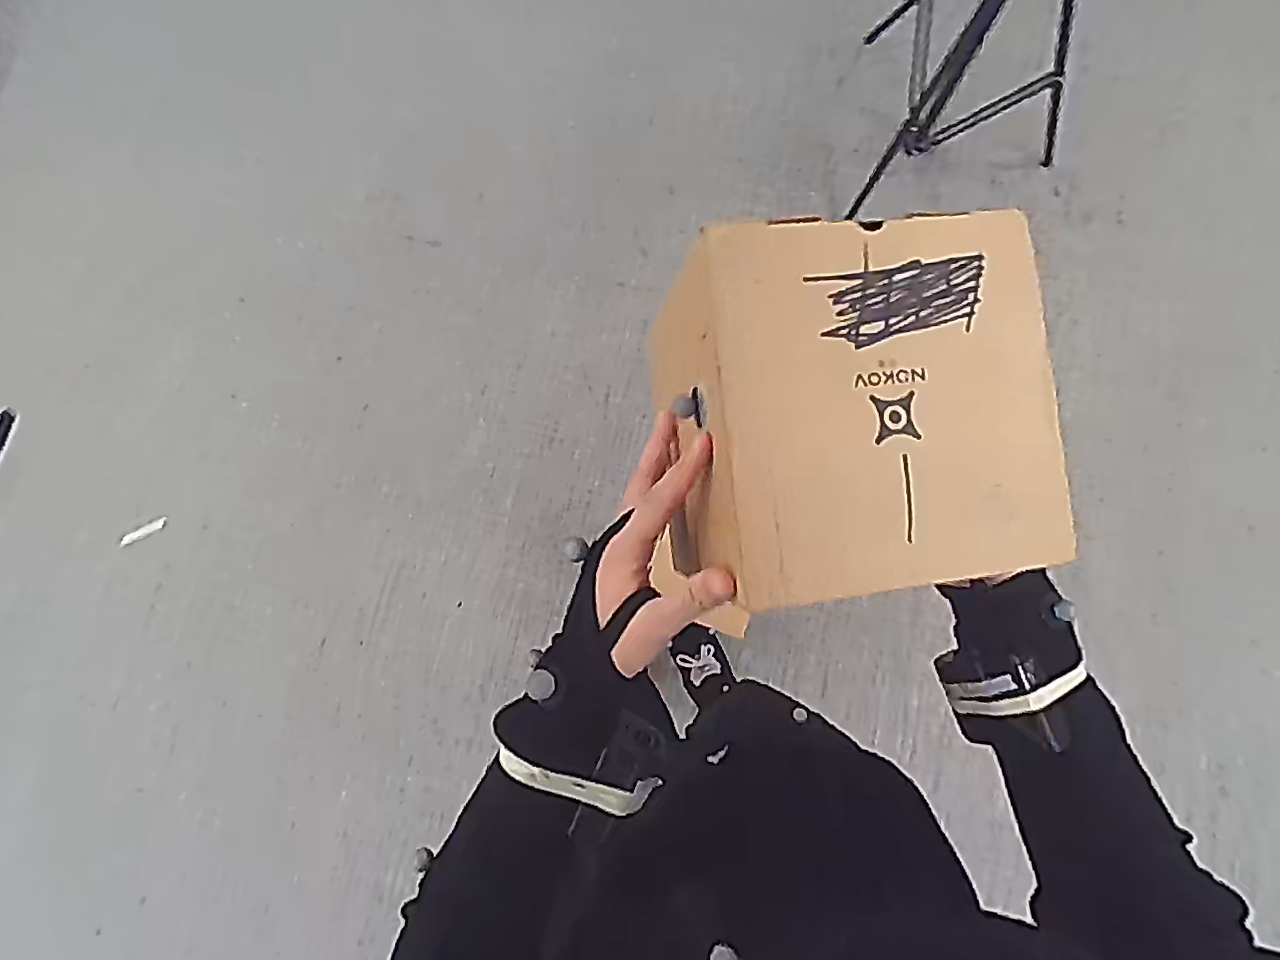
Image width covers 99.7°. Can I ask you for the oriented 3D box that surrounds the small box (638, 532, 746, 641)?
[{"bbox_3d":[0.109,0.165,0.950,0.179,0.176,0.168,19,84,7],"label":"small box"}]

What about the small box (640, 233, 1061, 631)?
[{"bbox_3d":[0.100,-0.022,0.333,0.168,0.176,0.179,-8,88,-9],"label":"small box"}]
